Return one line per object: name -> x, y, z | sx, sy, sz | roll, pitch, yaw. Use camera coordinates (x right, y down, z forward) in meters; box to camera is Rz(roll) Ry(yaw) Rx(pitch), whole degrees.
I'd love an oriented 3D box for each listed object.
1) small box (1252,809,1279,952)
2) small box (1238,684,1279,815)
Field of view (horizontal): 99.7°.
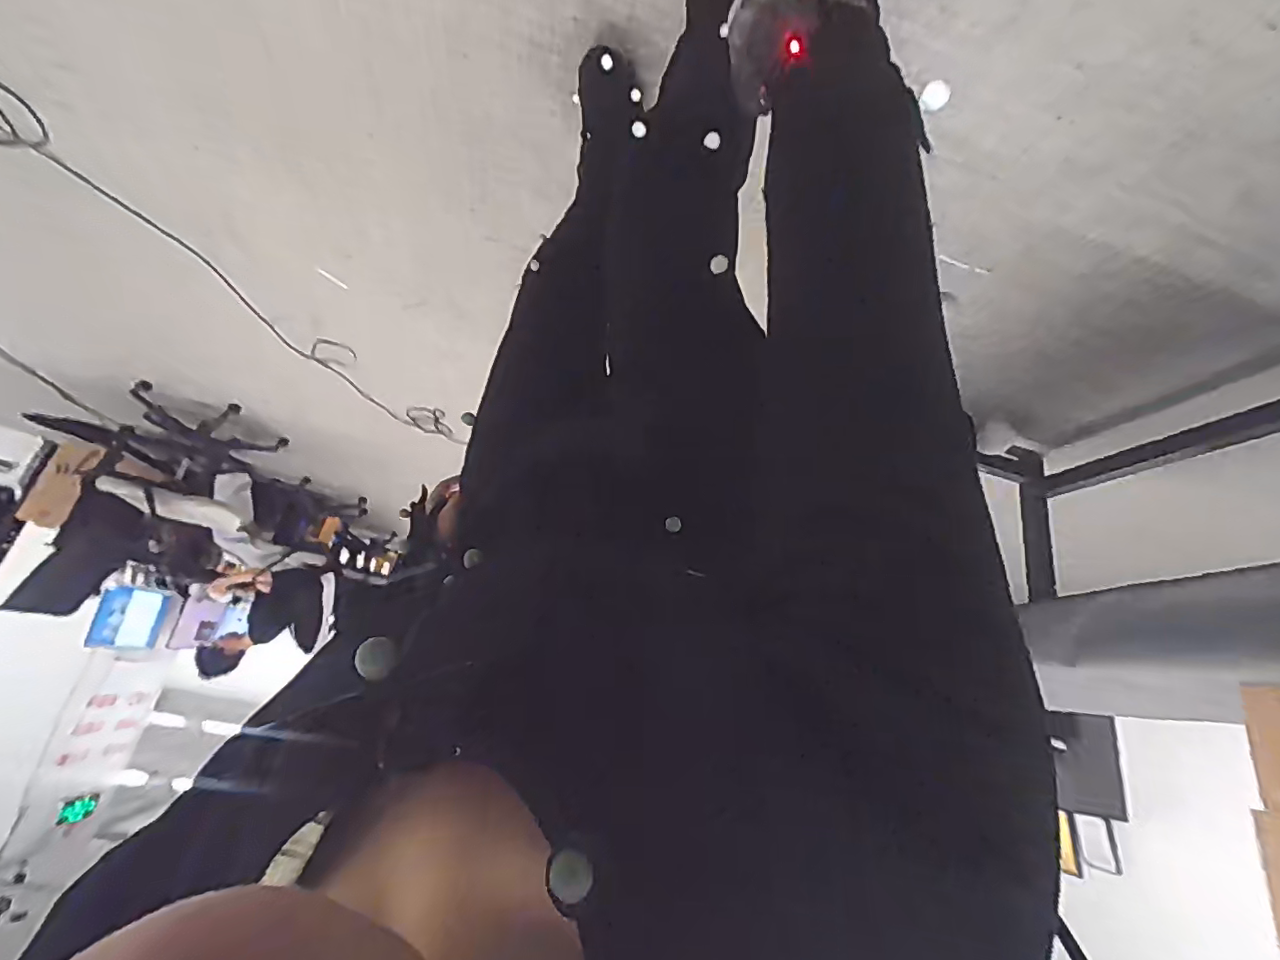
small box -> 0.936, 0.528, 0.667 | 0.179, 0.176, 0.168 | 14, 158, -9
small box -> 0.960, 0.370, 0.711 | 0.179, 0.176, 0.168 | 15, 159, -13
